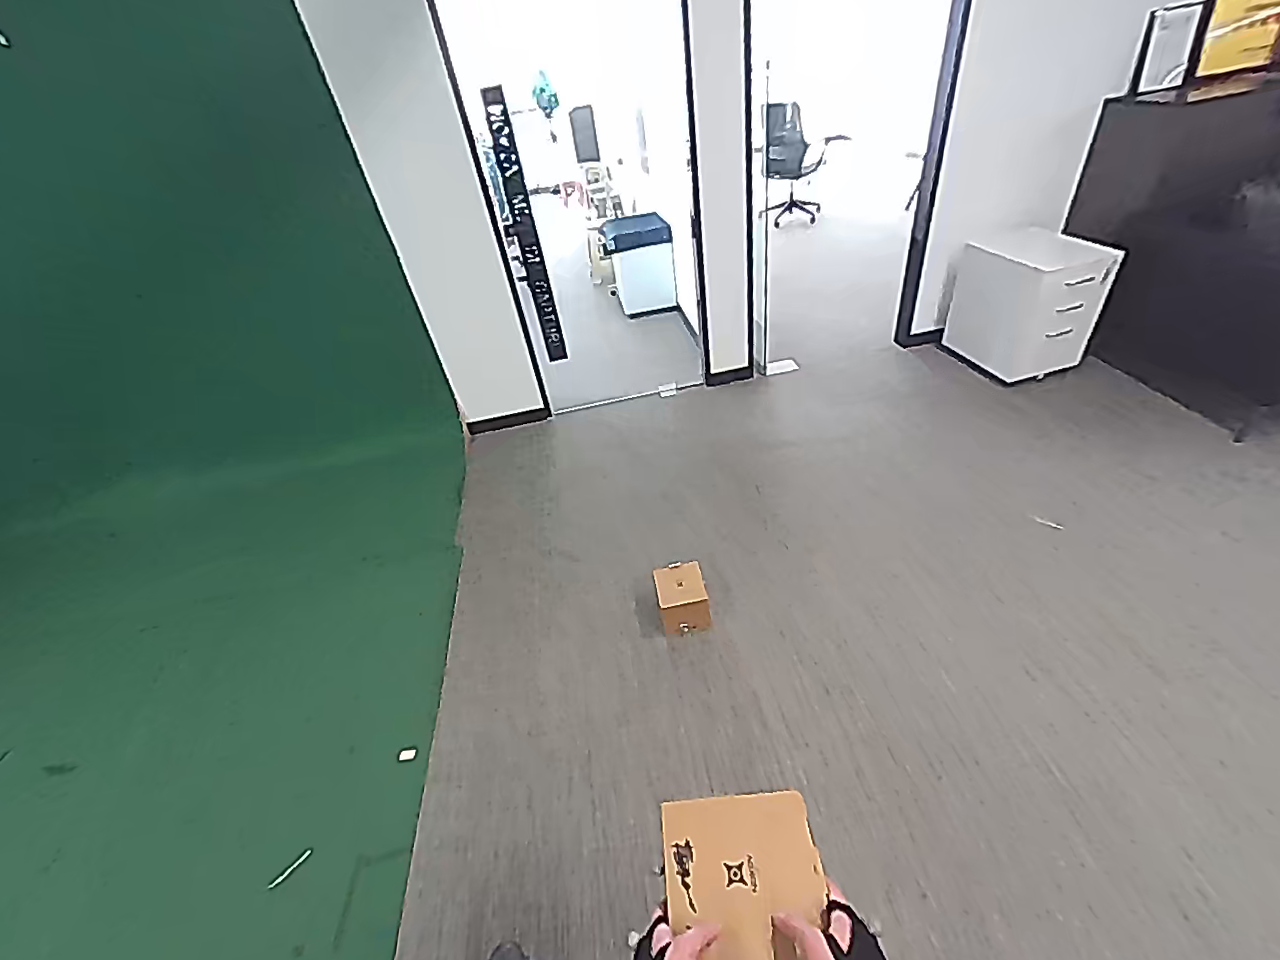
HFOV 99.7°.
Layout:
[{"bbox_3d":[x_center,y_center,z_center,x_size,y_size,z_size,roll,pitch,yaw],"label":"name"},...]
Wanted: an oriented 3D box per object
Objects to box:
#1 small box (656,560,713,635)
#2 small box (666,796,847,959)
[{"bbox_3d":[0.154,0.410,1.888,0.168,0.176,0.179,-11,38,2],"label":"small box"},{"bbox_3d":[0.125,0.506,0.647,0.179,0.176,0.168,-5,36,2],"label":"small box"}]
